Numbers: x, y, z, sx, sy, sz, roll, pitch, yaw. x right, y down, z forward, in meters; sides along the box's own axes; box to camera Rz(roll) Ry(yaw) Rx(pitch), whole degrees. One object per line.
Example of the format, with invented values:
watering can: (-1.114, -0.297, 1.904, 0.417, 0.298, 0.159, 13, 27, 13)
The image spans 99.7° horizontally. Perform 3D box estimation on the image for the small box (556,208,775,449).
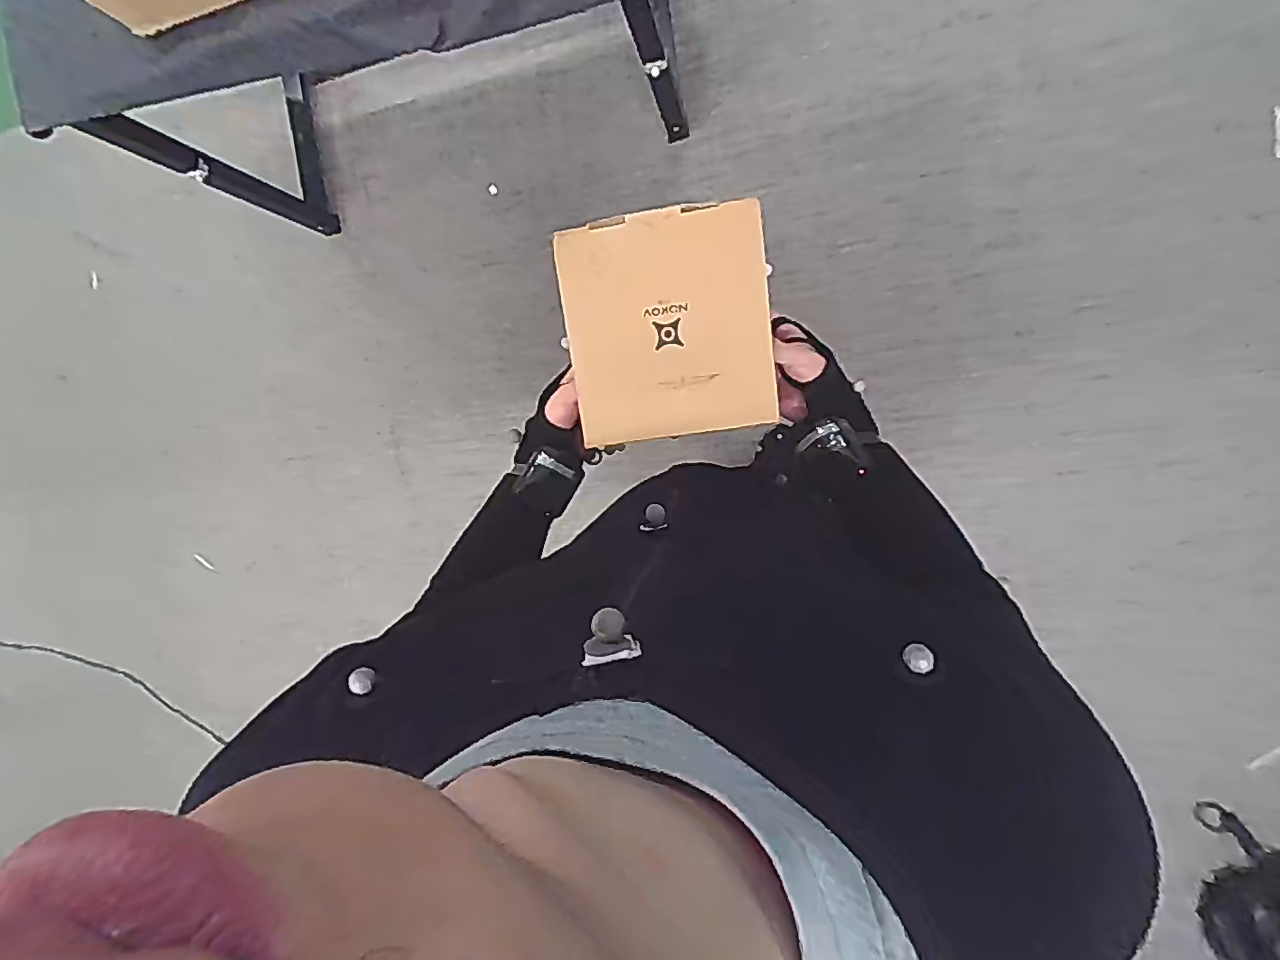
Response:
small box: (0.029, -0.133, 0.515, 0.168, 0.176, 0.179, -6, 102, 8)
